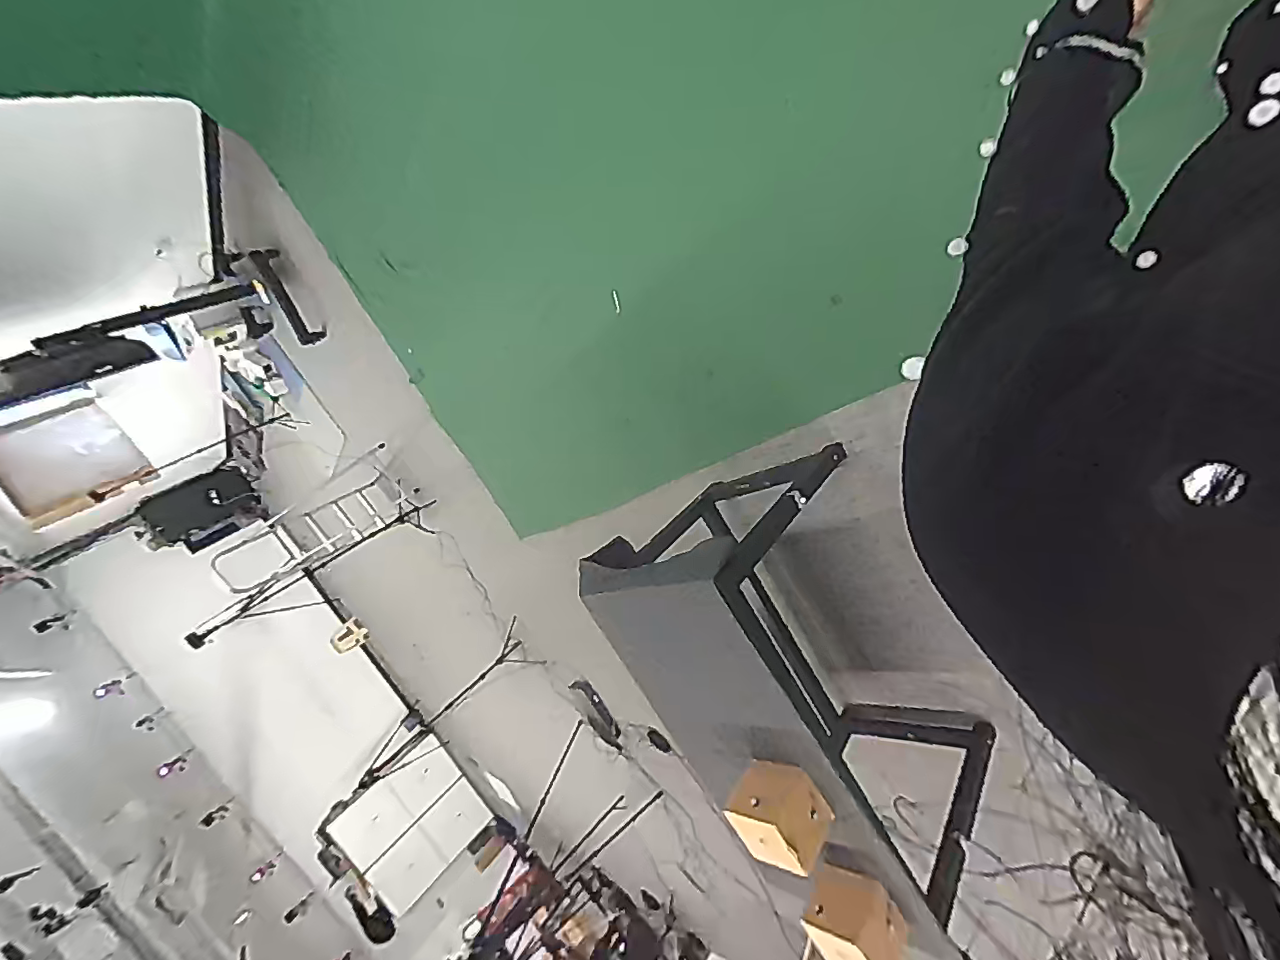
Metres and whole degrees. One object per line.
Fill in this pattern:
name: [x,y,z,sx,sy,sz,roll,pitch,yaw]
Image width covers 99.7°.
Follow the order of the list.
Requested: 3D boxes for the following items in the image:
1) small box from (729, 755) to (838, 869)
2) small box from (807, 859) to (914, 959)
small box: [0.369,0.836,1.383,0.179,0.176,0.168,-25,101,50]
small box: [0.580,1.144,1.418,0.179,0.176,0.168,-26,101,51]
